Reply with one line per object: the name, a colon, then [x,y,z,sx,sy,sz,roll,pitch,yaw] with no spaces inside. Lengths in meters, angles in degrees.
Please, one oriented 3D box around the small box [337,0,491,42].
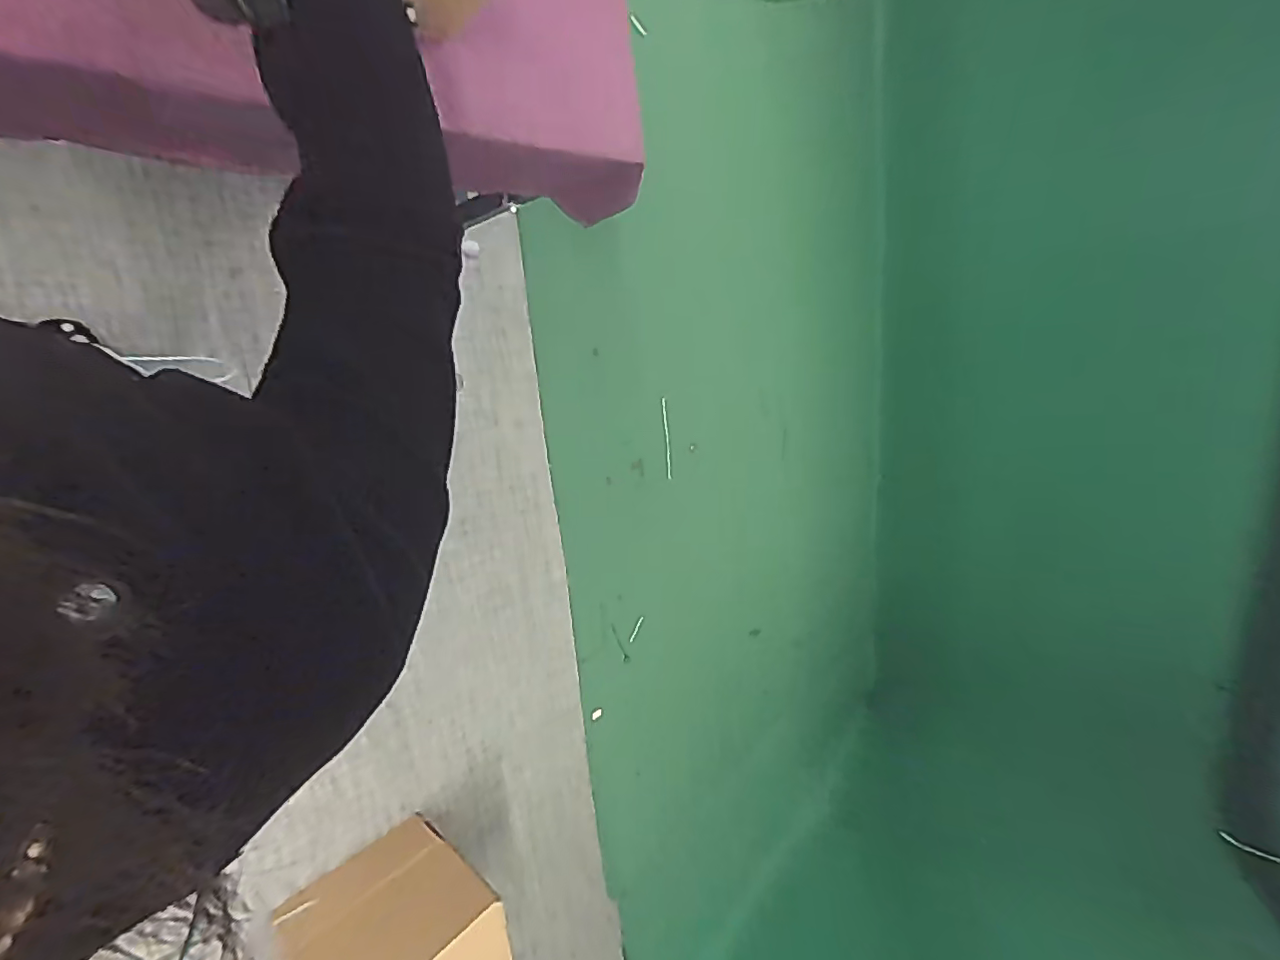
small box: [-0.294,-0.703,0.671,0.168,0.176,0.179,-21,110,-43]
